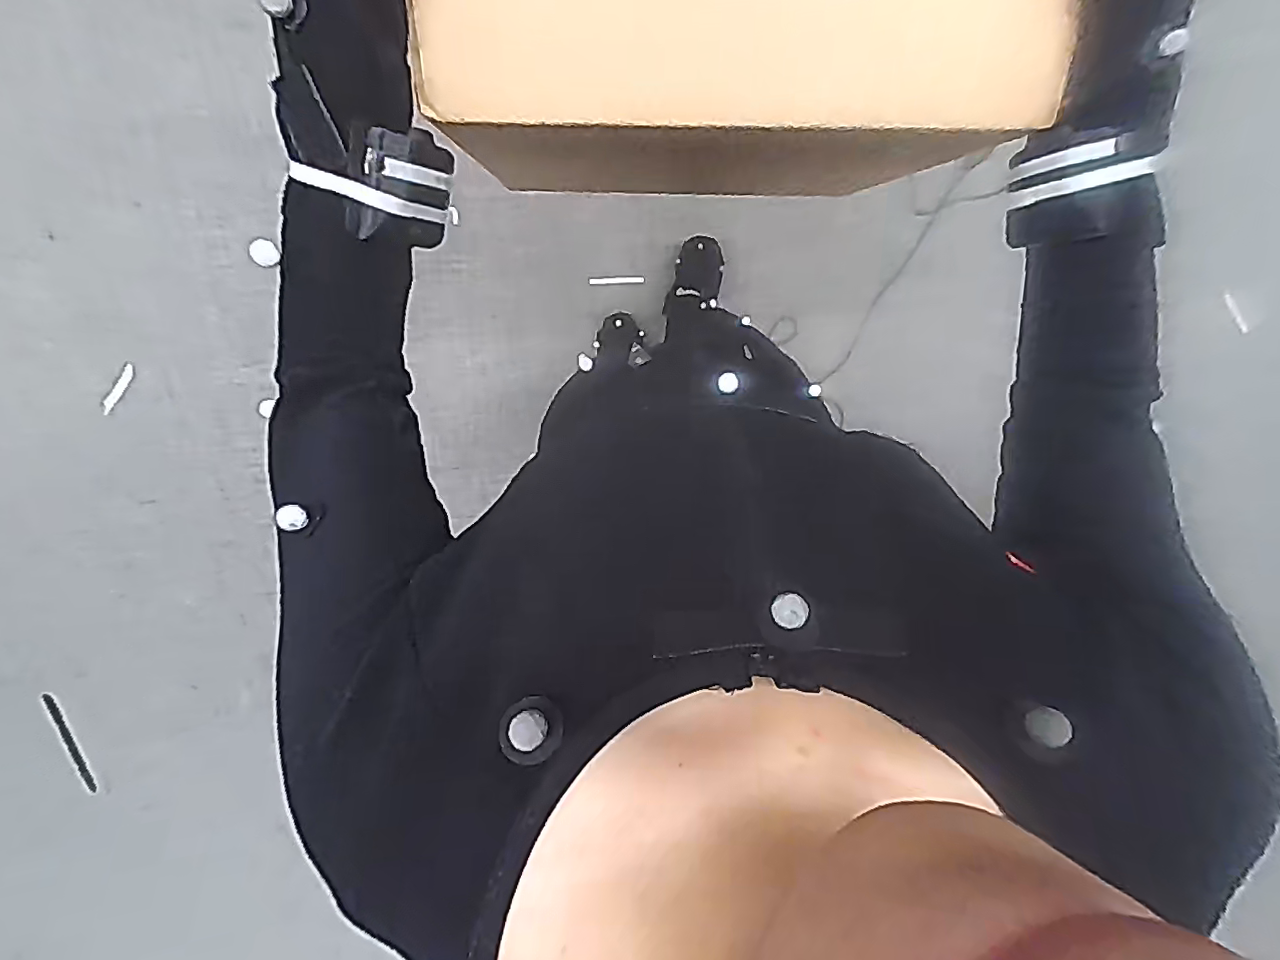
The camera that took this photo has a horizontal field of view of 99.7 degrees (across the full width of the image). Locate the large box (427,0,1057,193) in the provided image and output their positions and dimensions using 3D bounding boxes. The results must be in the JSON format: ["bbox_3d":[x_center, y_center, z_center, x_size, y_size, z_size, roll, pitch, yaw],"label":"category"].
[{"bbox_3d":[0.055,-0.433,0.442,0.408,0.320,0.320,-2,111,-4],"label":"large box"}]
